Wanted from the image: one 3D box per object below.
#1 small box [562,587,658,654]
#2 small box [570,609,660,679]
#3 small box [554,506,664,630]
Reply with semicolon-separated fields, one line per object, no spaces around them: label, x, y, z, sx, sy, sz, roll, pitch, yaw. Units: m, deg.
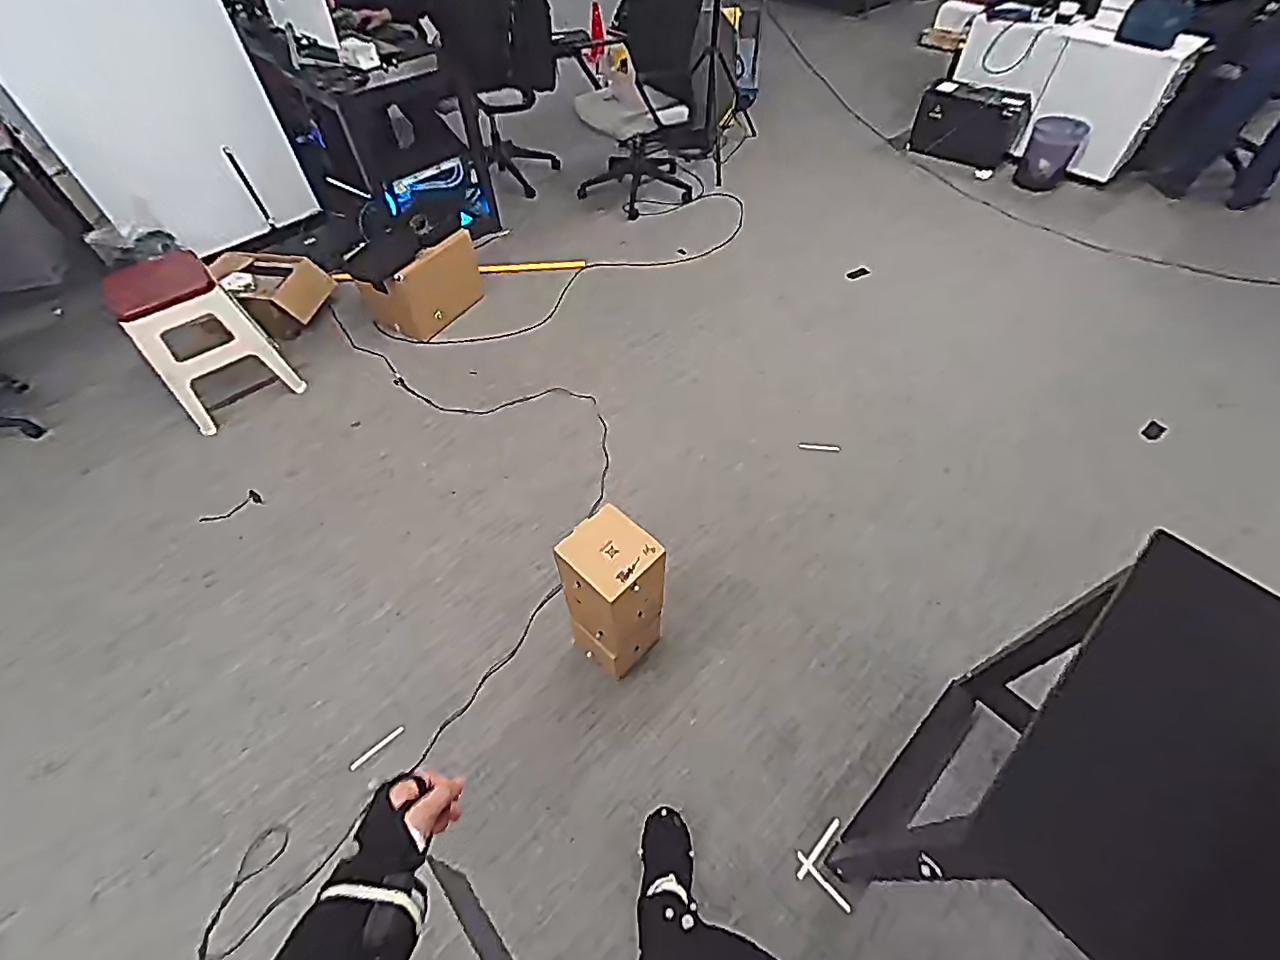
small box;-0.065;0.291;1.321;0.168;0.176;0.179;34;59;22
small box;-0.064;0.395;1.447;0.168;0.176;0.179;37;62;25
small box;-0.065;0.196;1.188;0.179;0.176;0.168;37;62;25
